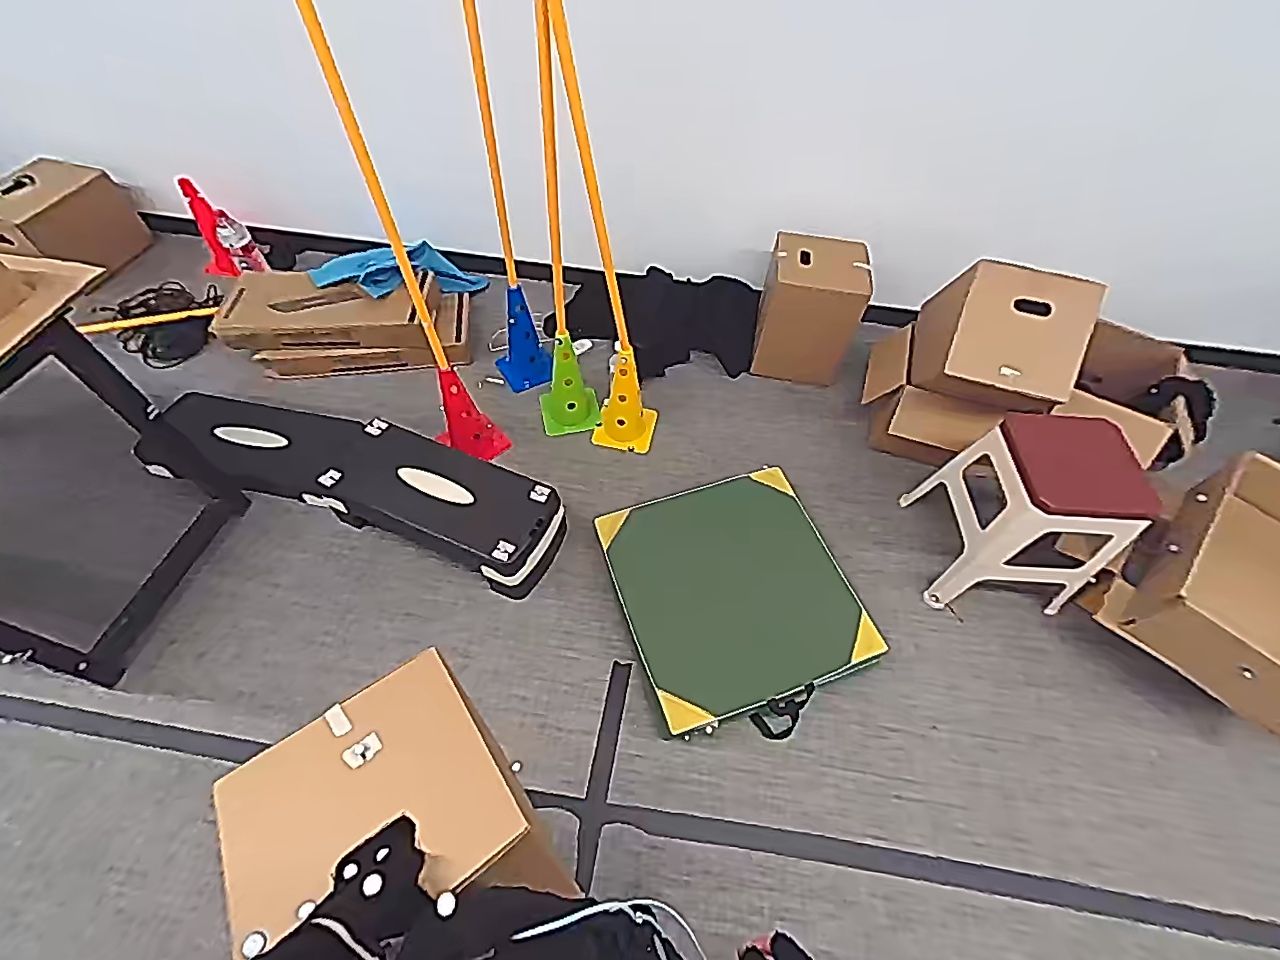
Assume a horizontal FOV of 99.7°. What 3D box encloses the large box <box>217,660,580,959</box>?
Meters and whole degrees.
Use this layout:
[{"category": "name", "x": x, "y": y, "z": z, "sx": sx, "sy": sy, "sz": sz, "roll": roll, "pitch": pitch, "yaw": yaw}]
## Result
[{"category": "large box", "x": -0.332, "y": 0.553, "z": 0.811, "sx": 0.320, "sy": 0.408, "sz": 0.320, "roll": -30, "pitch": 47, "yaw": -22}]
